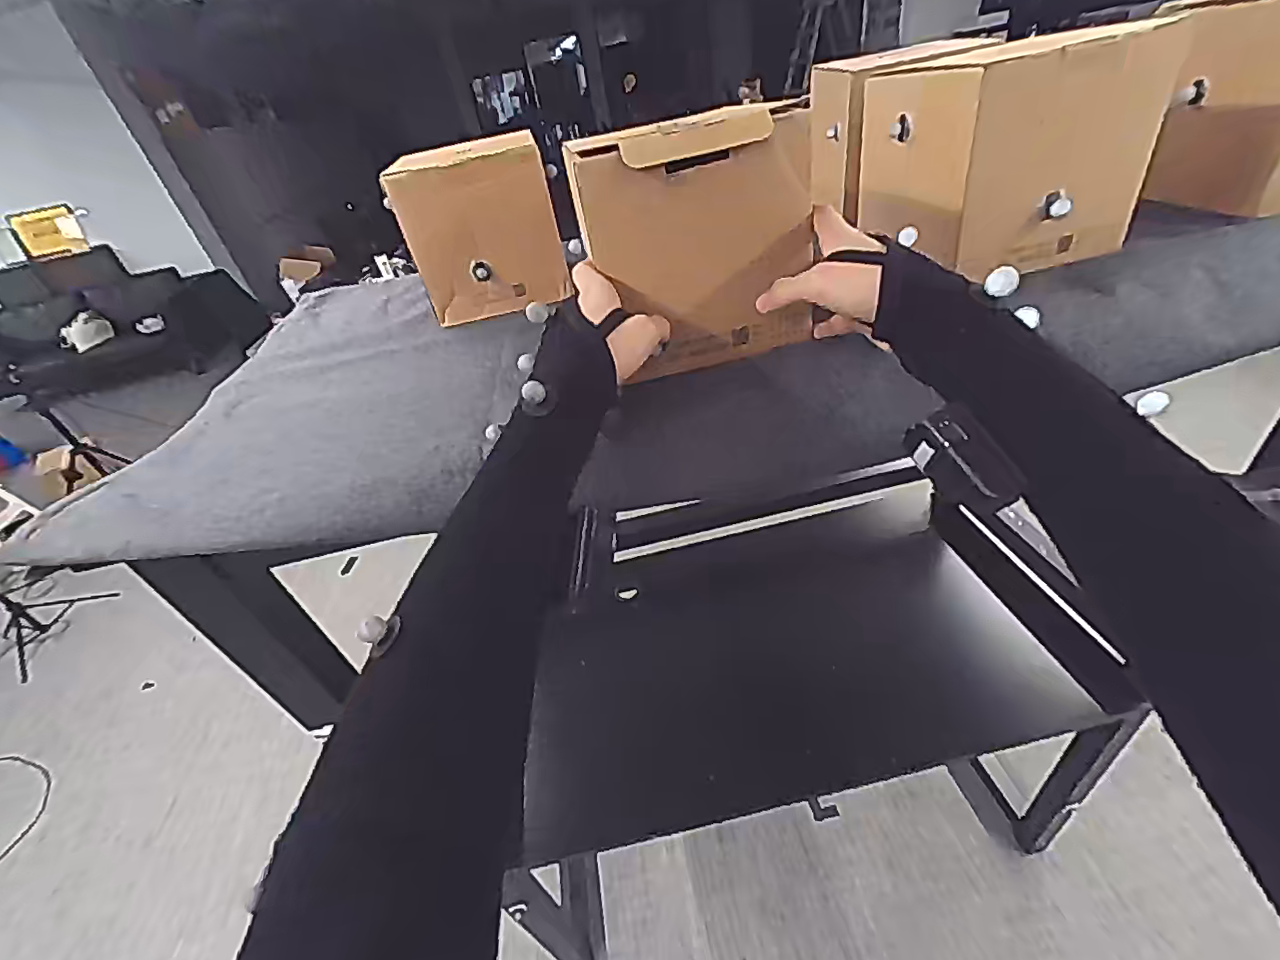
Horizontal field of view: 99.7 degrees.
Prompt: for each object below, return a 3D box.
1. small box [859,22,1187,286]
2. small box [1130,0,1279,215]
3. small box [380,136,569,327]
[{"bbox_3d":[0.324,-0.297,0.508,0.168,0.176,0.179,-14,36,-2],"label":"small box"},{"bbox_3d":[0.615,-0.368,0.520,0.168,0.176,0.179,-13,36,0],"label":"small box"},{"bbox_3d":[-0.191,-0.309,0.671,0.168,0.176,0.179,-15,38,-3],"label":"small box"}]
